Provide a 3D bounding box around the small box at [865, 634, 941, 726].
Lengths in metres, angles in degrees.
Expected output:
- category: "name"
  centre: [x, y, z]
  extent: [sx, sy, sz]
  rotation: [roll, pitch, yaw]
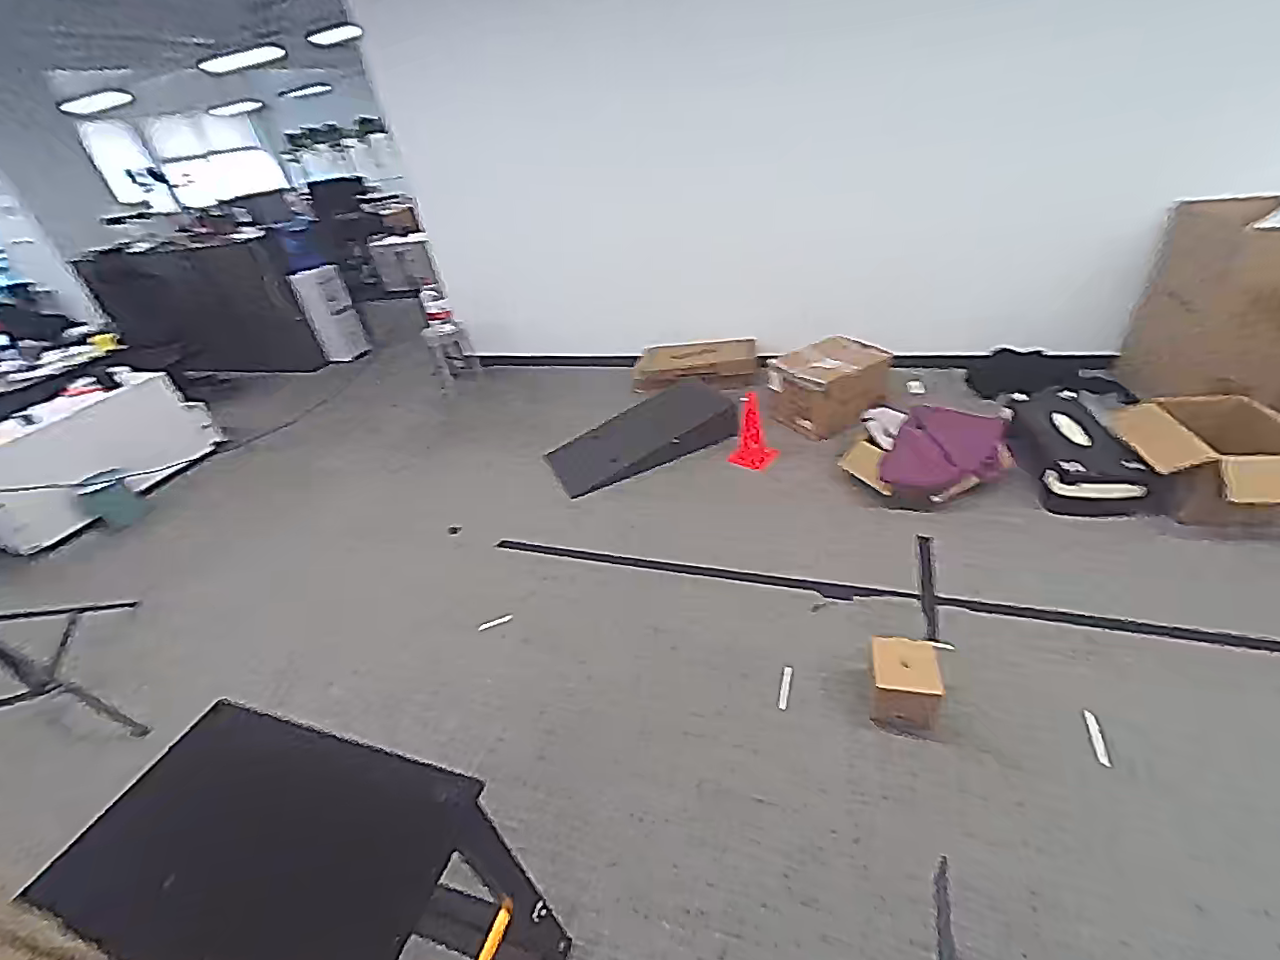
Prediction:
- category: "small box"
  centre: [0.748, 0.573, 1.556]
  extent: [0.168, 0.176, 0.179]
  rotation: [0, 37, 16]
